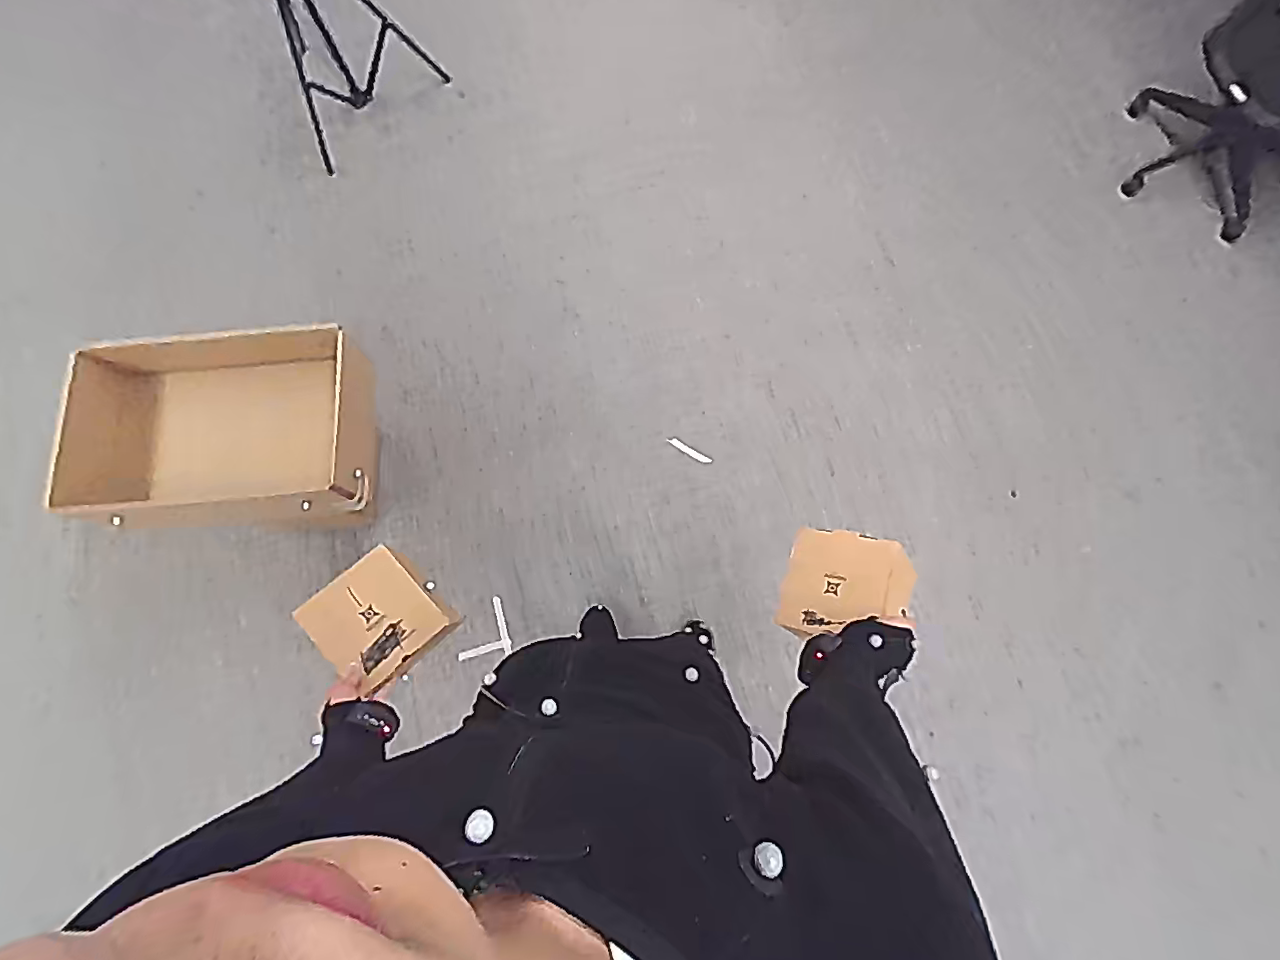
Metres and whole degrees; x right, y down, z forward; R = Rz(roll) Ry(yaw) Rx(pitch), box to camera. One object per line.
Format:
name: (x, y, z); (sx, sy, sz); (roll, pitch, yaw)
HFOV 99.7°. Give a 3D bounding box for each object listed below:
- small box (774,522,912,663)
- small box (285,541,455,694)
small box: (0.353, 0.191, 0.921); (0.168, 0.176, 0.179); (7, 69, 39)
small box: (-0.436, 0.226, 0.910); (0.168, 0.176, 0.179); (-42, 87, -18)
